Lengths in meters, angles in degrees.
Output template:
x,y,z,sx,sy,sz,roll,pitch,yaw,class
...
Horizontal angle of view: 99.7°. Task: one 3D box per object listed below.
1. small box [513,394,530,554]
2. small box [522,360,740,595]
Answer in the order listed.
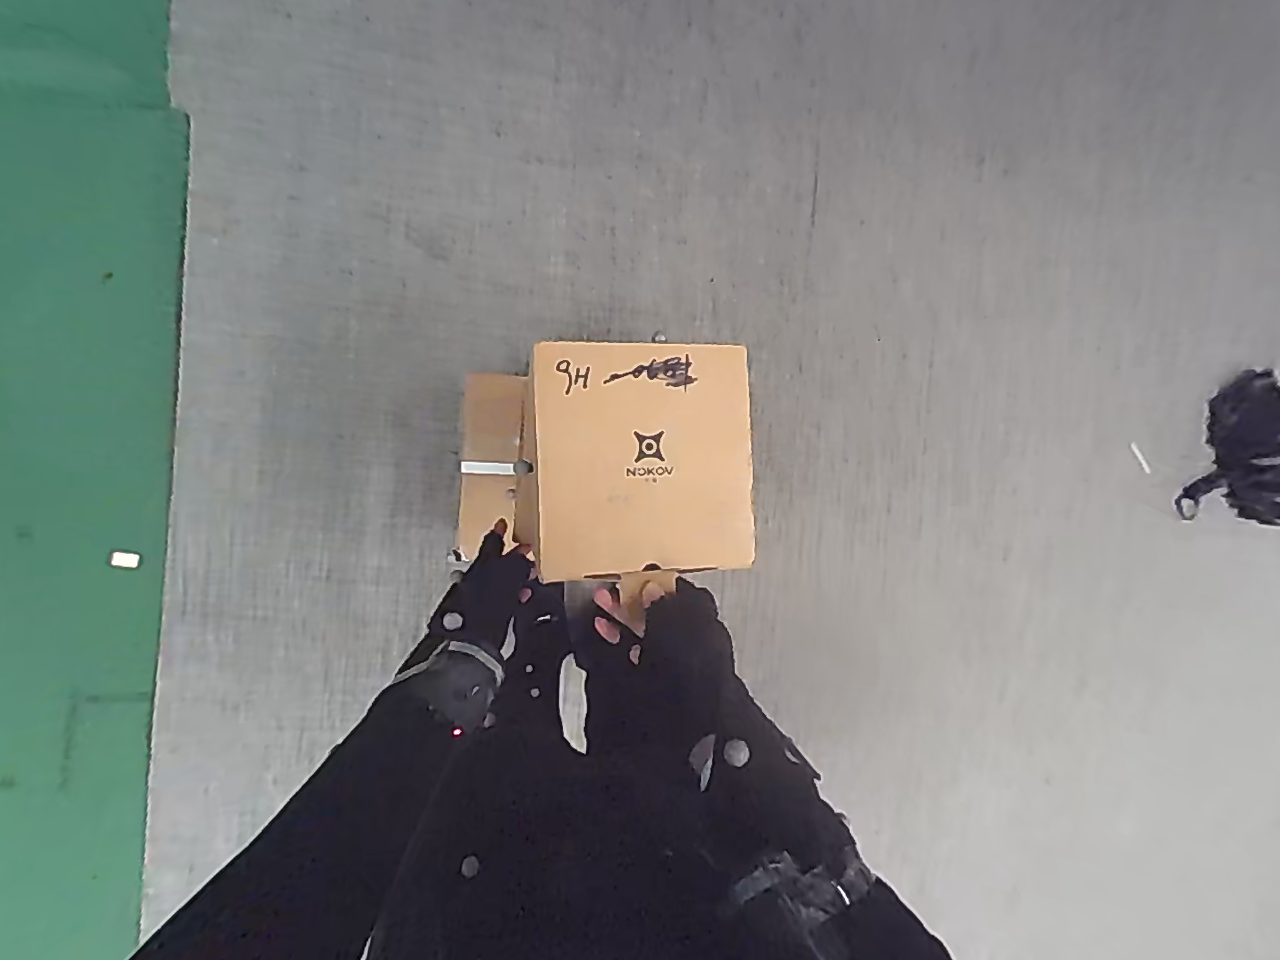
x,y,z,sx,sy,sz,roll,pitch,yaw,class
-0.064,-0.010,0.674,0.168,0.176,0.179,2,95,-9,small box
-0.018,-0.005,0.491,0.168,0.176,0.179,-3,91,-12,small box
